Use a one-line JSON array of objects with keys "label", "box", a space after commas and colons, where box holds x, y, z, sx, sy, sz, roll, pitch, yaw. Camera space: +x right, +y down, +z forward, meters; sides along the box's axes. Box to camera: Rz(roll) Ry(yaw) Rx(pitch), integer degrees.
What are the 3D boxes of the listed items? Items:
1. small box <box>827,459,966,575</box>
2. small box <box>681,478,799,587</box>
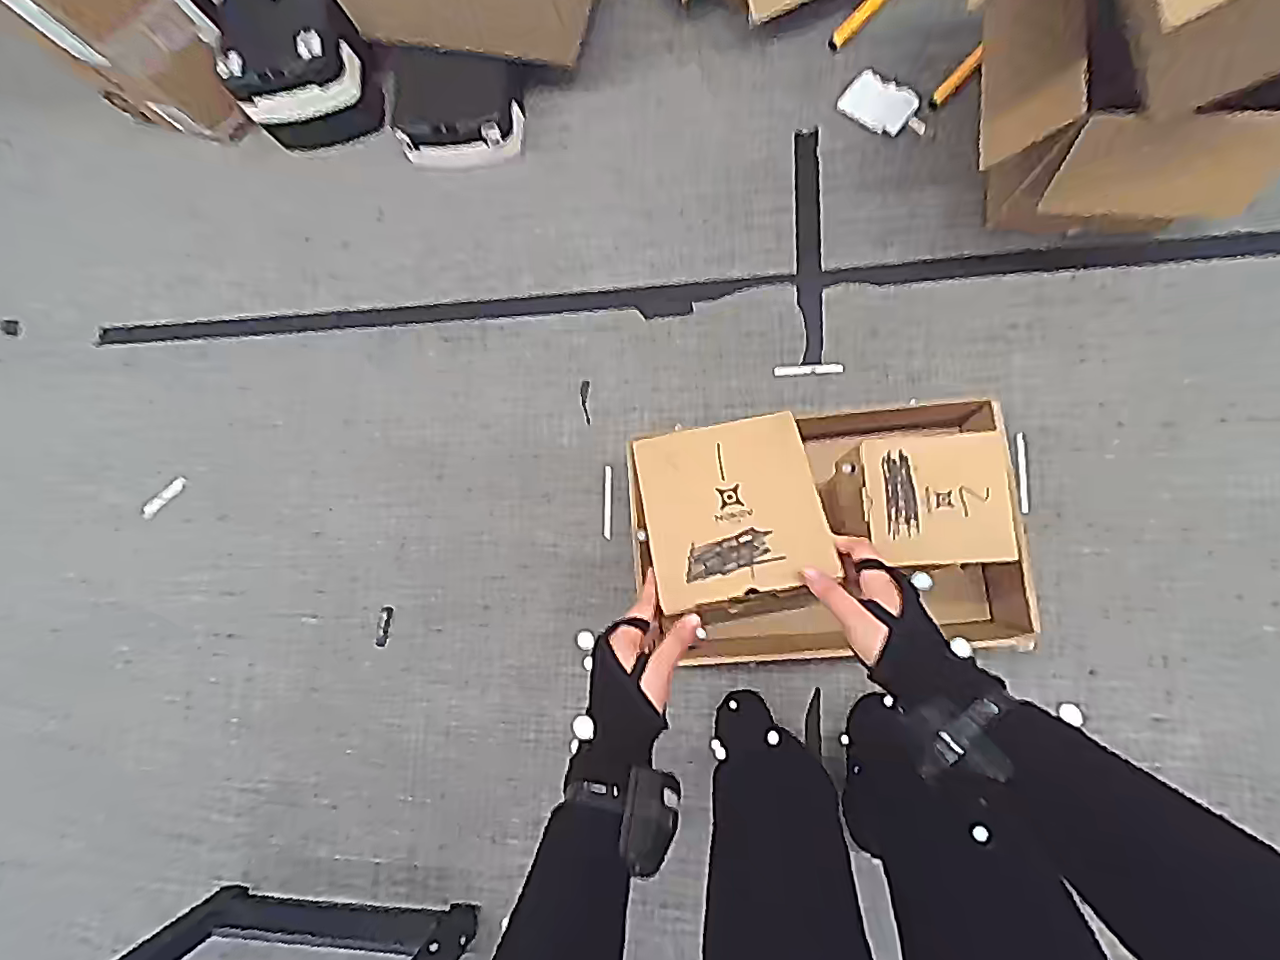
[{"label": "small box", "box": [0.426, 0.070, 0.929, 0.168, 0.176, 0.179, -6, 82, 9]}, {"label": "small box", "box": [0.170, 0.095, 0.962, 0.179, 0.176, 0.168, -7, 81, 6]}]
